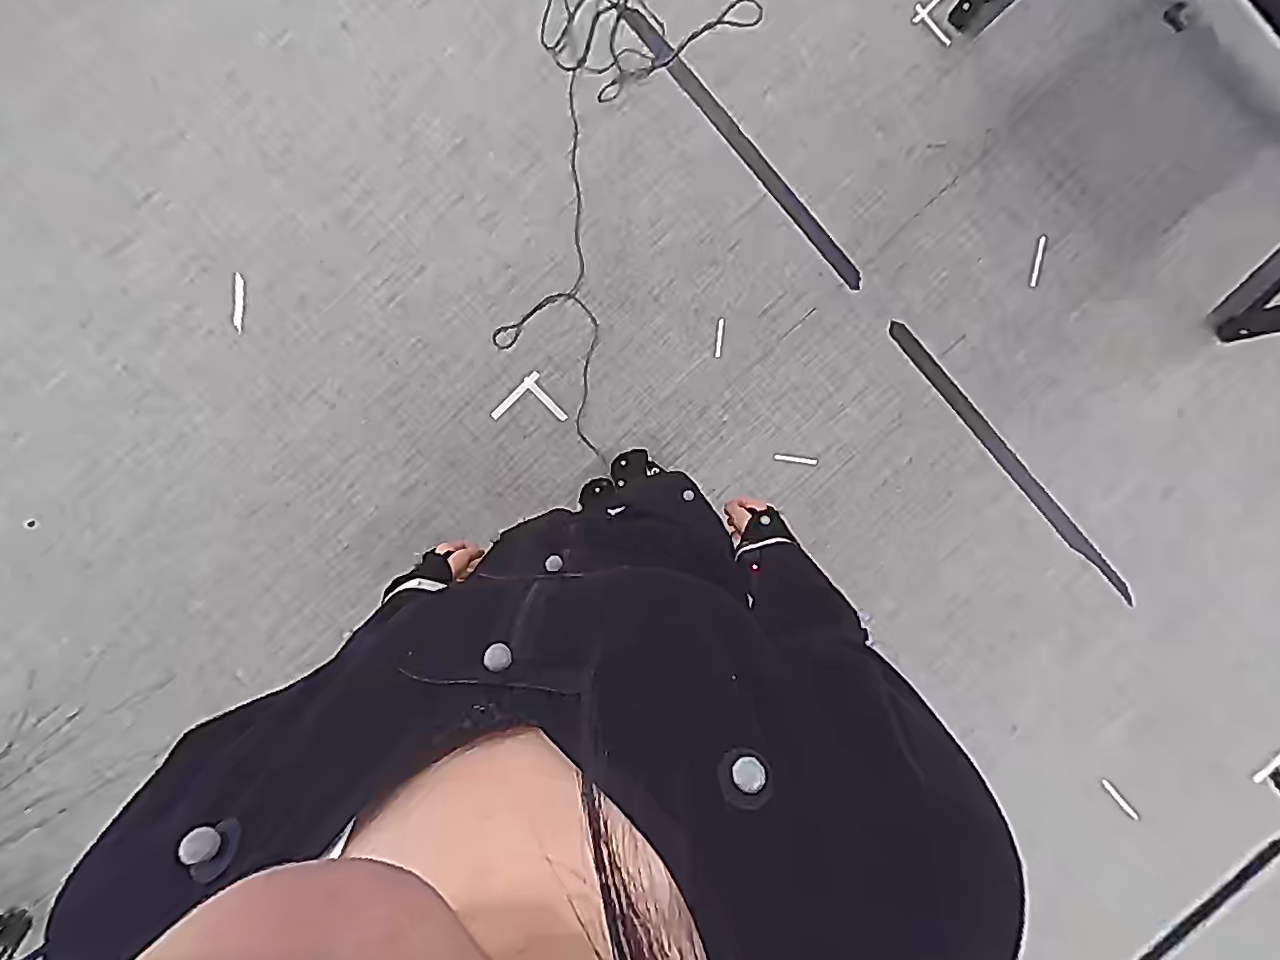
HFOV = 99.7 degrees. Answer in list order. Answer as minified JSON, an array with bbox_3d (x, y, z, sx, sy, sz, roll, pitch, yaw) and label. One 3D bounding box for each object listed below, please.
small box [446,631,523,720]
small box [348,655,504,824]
[{"bbox_3d":[-0.368,0.450,1.125,0.168,0.176,0.179,45,90,-2],"label":"small box"},{"bbox_3d":[-0.364,0.447,0.963,0.168,0.176,0.179,44,91,-1],"label":"small box"}]
